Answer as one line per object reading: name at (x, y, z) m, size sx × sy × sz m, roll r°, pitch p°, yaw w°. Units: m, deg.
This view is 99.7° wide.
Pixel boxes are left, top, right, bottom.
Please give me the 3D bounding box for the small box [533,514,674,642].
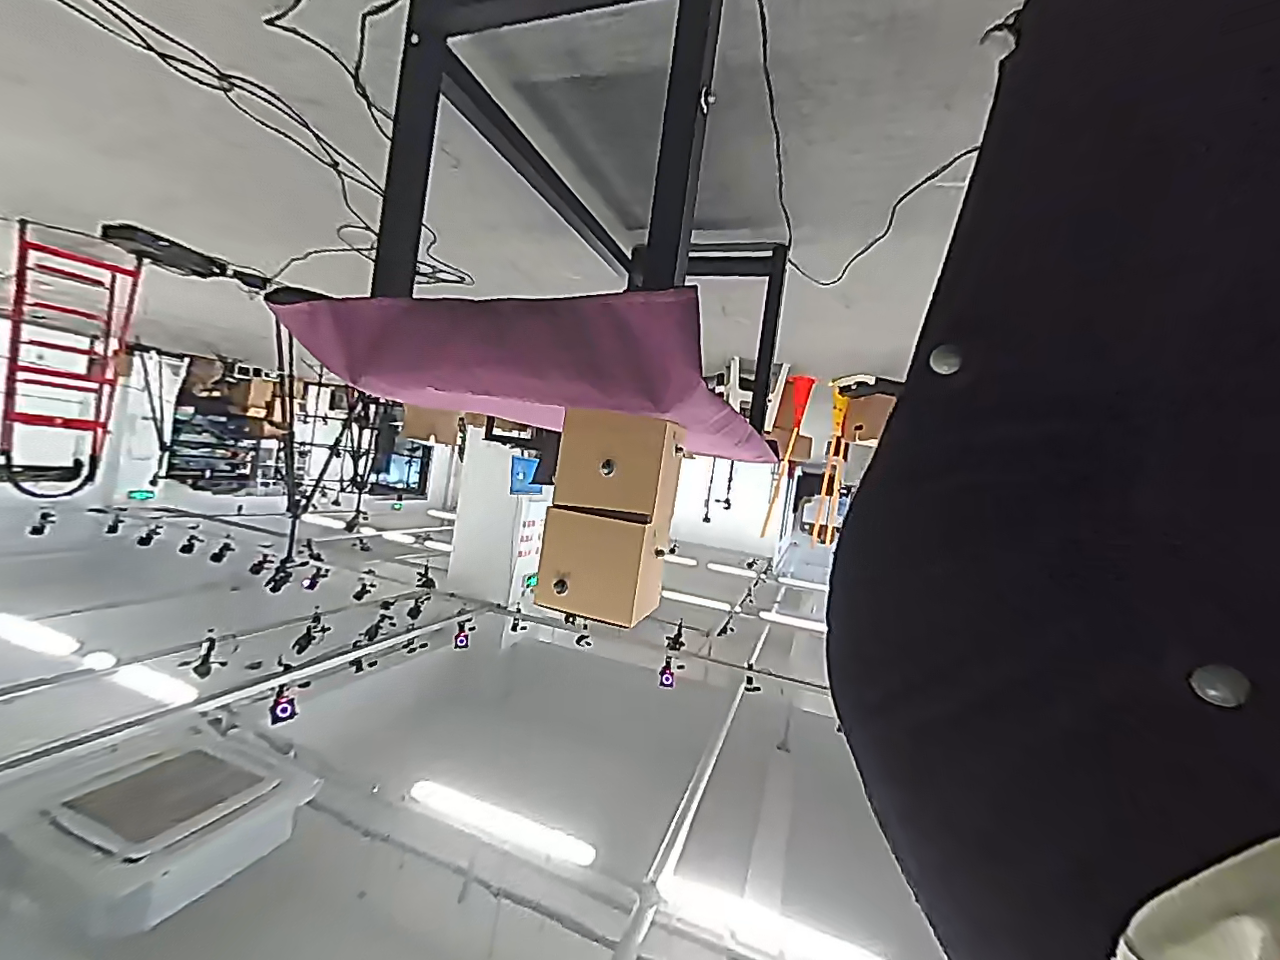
small box at (-0.056, 0.156, 0.931) m, size 0.179 × 0.176 × 0.168 m, roll 12°, pitch -179°, yaw 18°
